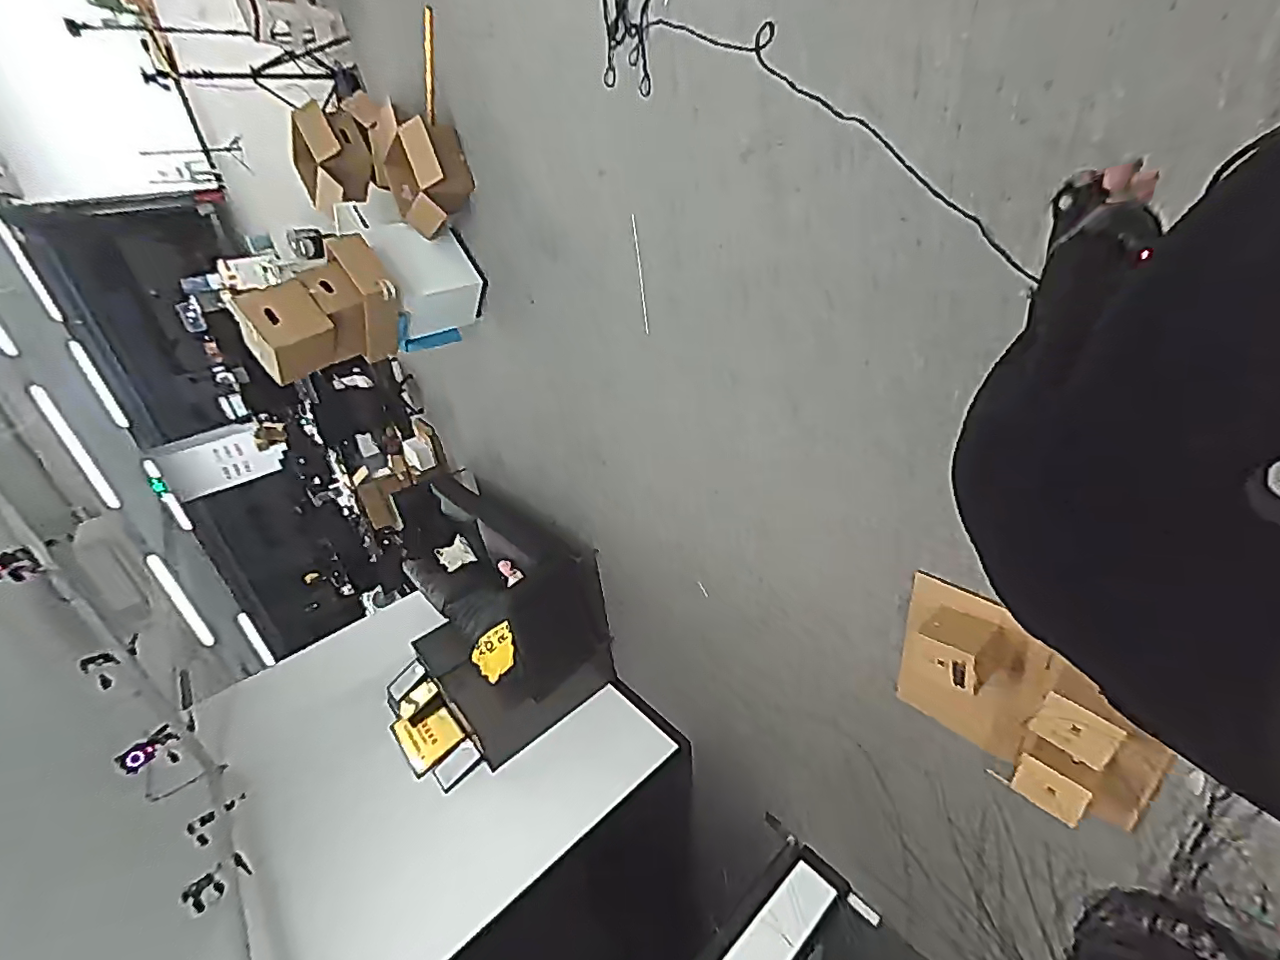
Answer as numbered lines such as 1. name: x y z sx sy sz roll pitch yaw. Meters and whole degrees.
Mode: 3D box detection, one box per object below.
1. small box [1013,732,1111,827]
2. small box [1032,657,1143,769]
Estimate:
1. small box: 1.224 0.841 1.567 0.168 0.176 0.179 26 134 44
2. small box: 1.192 0.611 1.439 0.168 0.176 0.179 31 136 41
